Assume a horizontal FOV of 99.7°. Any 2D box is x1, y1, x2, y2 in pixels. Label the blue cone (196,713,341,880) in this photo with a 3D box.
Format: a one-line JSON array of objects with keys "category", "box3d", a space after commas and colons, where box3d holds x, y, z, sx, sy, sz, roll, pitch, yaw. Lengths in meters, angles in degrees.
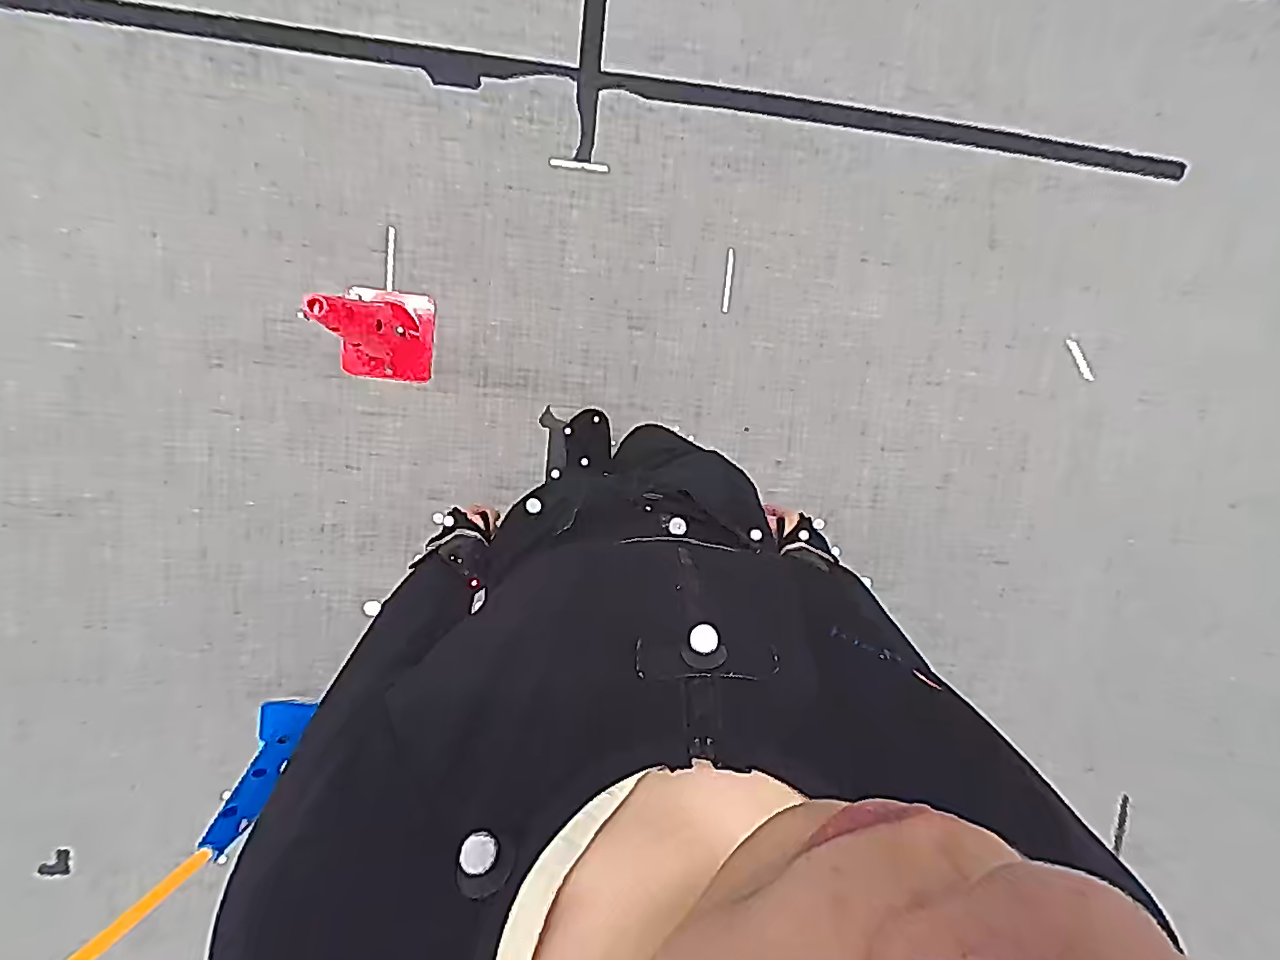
[{"category": "blue cone", "box3d": [-0.822, 0.690, 1.179, 0.193, 0.380, 0.192, 7, 96, -7]}]
